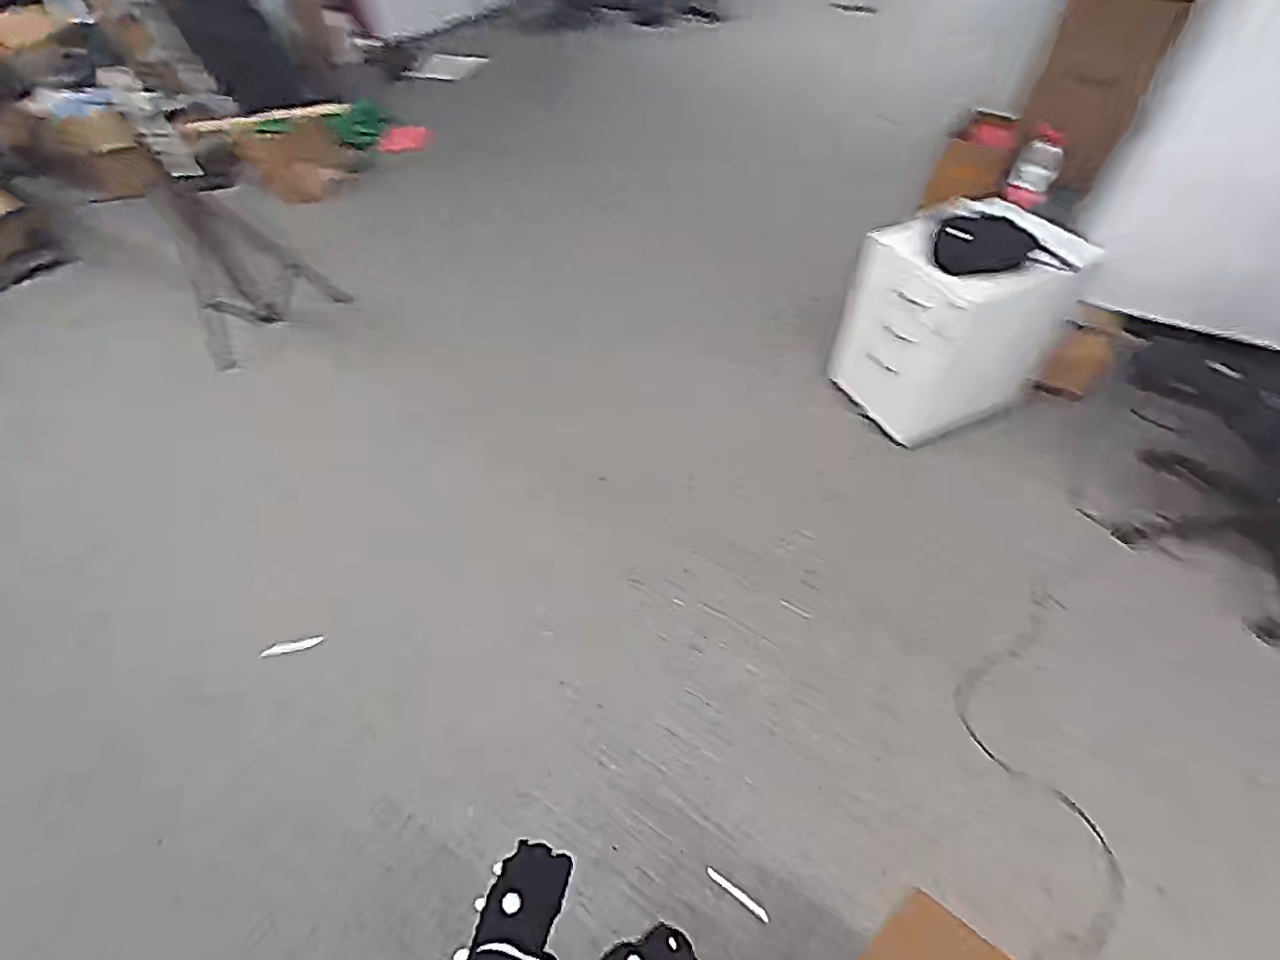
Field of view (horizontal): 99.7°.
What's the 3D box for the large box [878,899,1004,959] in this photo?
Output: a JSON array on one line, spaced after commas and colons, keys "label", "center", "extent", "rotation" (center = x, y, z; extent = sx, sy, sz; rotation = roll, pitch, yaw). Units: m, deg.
[{"label": "large box", "center": [0.452, 0.795, 0.596], "extent": [0.320, 0.408, 0.320], "rotation": [-44, 76, -13]}]
